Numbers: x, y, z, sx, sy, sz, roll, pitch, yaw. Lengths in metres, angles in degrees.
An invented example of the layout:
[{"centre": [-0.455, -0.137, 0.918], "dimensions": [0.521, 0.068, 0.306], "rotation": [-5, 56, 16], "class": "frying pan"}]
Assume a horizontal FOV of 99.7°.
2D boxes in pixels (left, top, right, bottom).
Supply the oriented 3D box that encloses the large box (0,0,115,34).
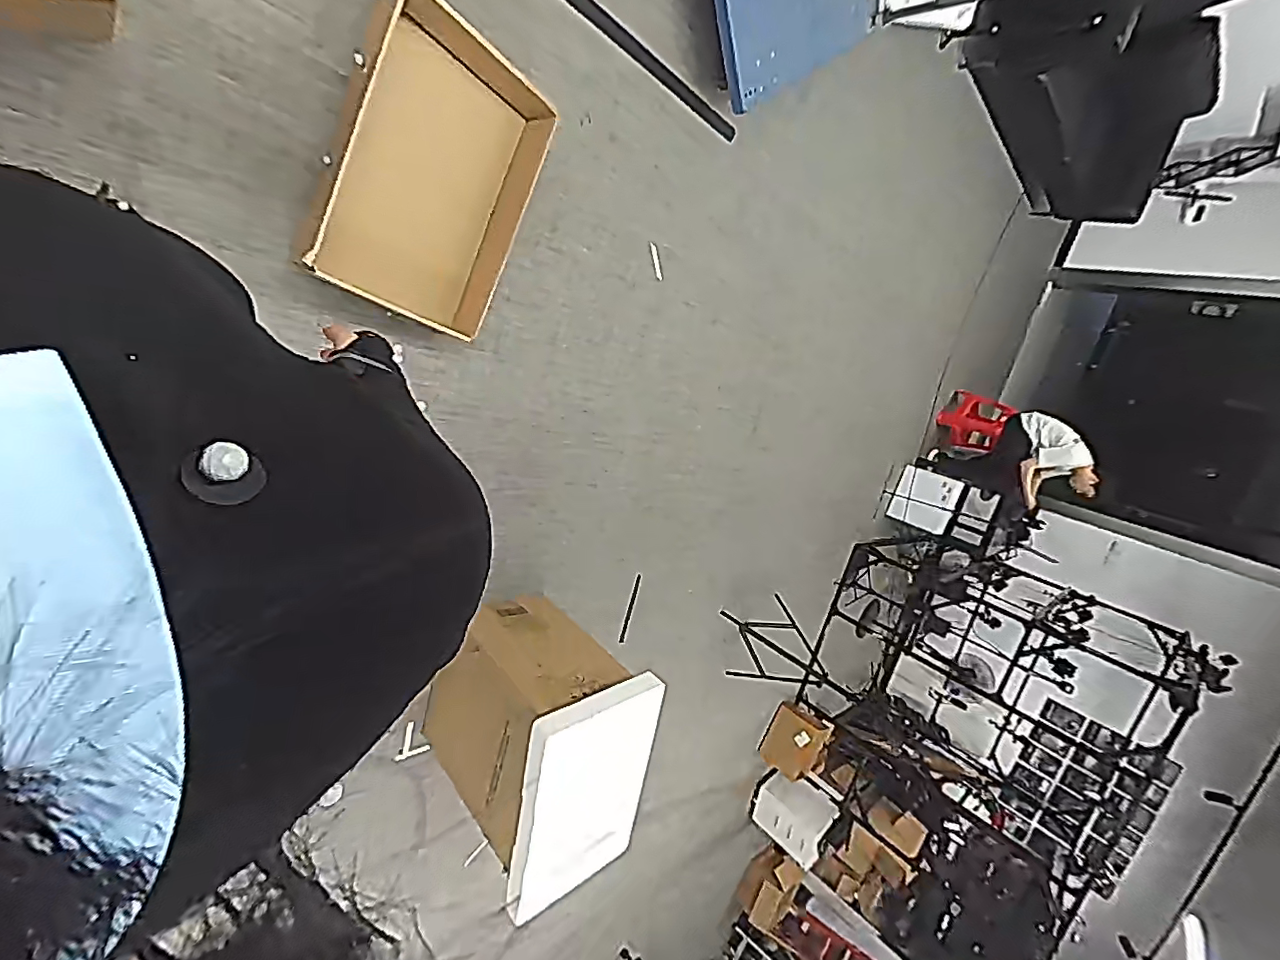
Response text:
[{"centre": [-0.979, -0.772, 0.659], "dimensions": [0.408, 0.320, 0.320], "rotation": [-27, 127, -33], "class": "large box"}]
